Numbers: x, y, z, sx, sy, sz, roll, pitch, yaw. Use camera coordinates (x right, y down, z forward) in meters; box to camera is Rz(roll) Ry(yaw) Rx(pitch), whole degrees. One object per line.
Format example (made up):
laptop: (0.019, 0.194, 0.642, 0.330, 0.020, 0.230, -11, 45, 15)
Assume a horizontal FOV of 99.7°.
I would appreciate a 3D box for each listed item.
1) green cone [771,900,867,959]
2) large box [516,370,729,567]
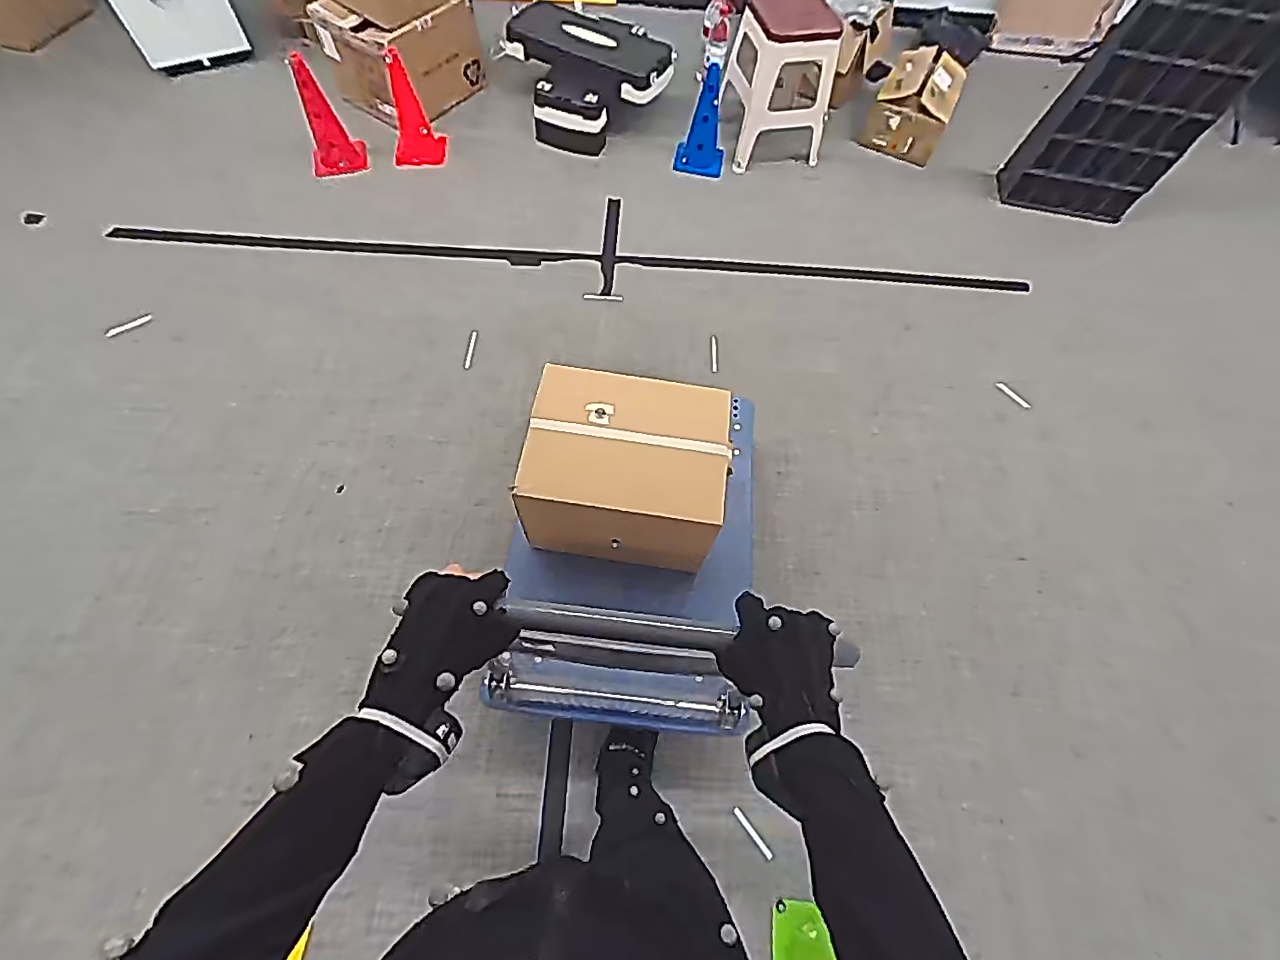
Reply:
green cone: (0.380, 0.909, 0.948, 0.202, 0.368, 0.200, 8, 63, -1)
large box: (-0.028, -0.012, 1.226, 0.408, 0.320, 0.320, 8, 63, 1)
